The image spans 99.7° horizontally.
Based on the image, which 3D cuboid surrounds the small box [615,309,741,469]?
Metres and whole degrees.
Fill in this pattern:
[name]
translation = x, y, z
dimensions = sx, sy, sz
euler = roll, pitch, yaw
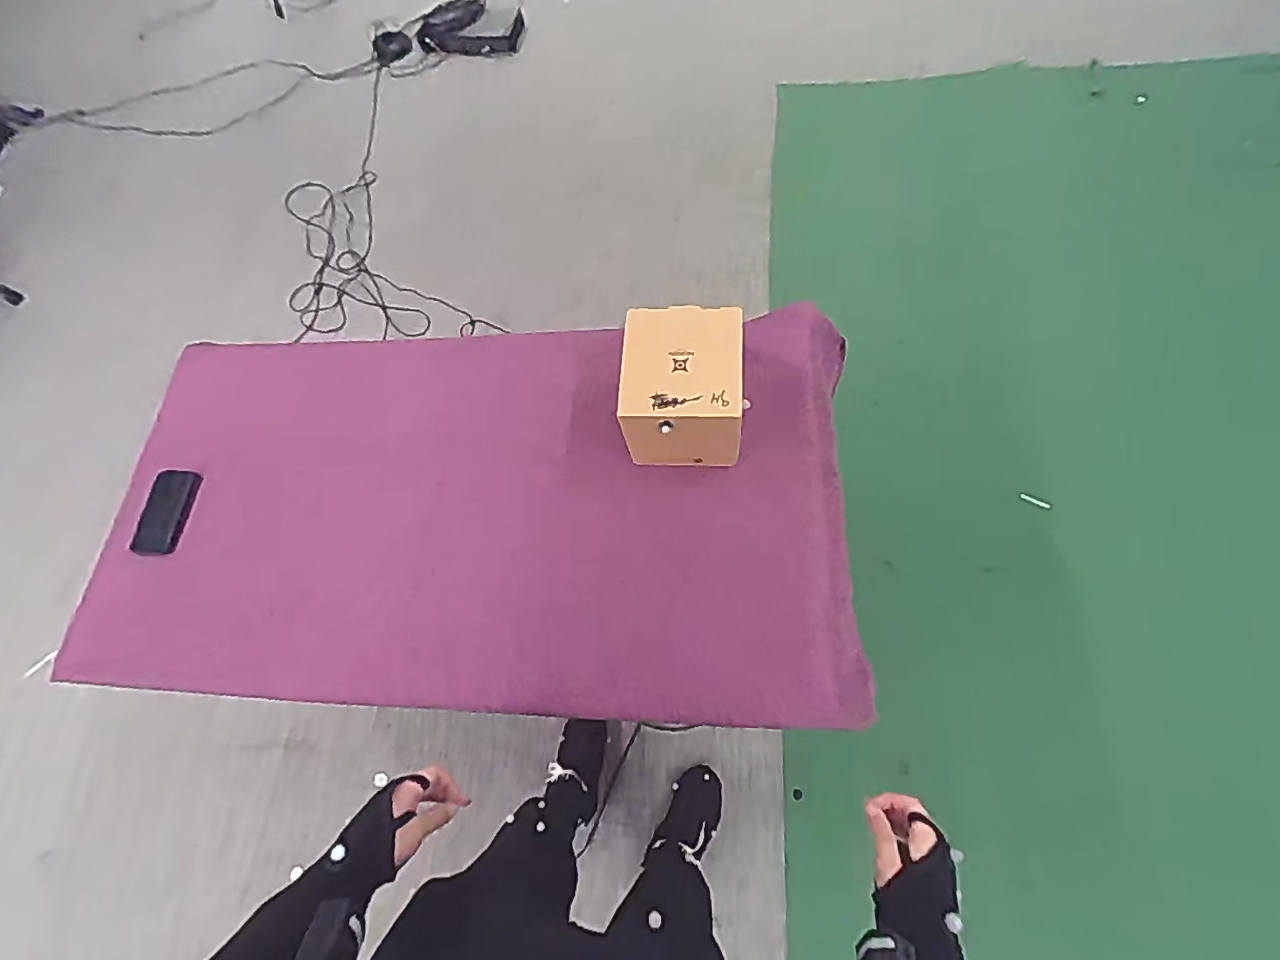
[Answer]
[small box]
translation = 0.064, -0.131, 0.807
dimensions = 0.168, 0.176, 0.179
euler = 1, 69, 9
